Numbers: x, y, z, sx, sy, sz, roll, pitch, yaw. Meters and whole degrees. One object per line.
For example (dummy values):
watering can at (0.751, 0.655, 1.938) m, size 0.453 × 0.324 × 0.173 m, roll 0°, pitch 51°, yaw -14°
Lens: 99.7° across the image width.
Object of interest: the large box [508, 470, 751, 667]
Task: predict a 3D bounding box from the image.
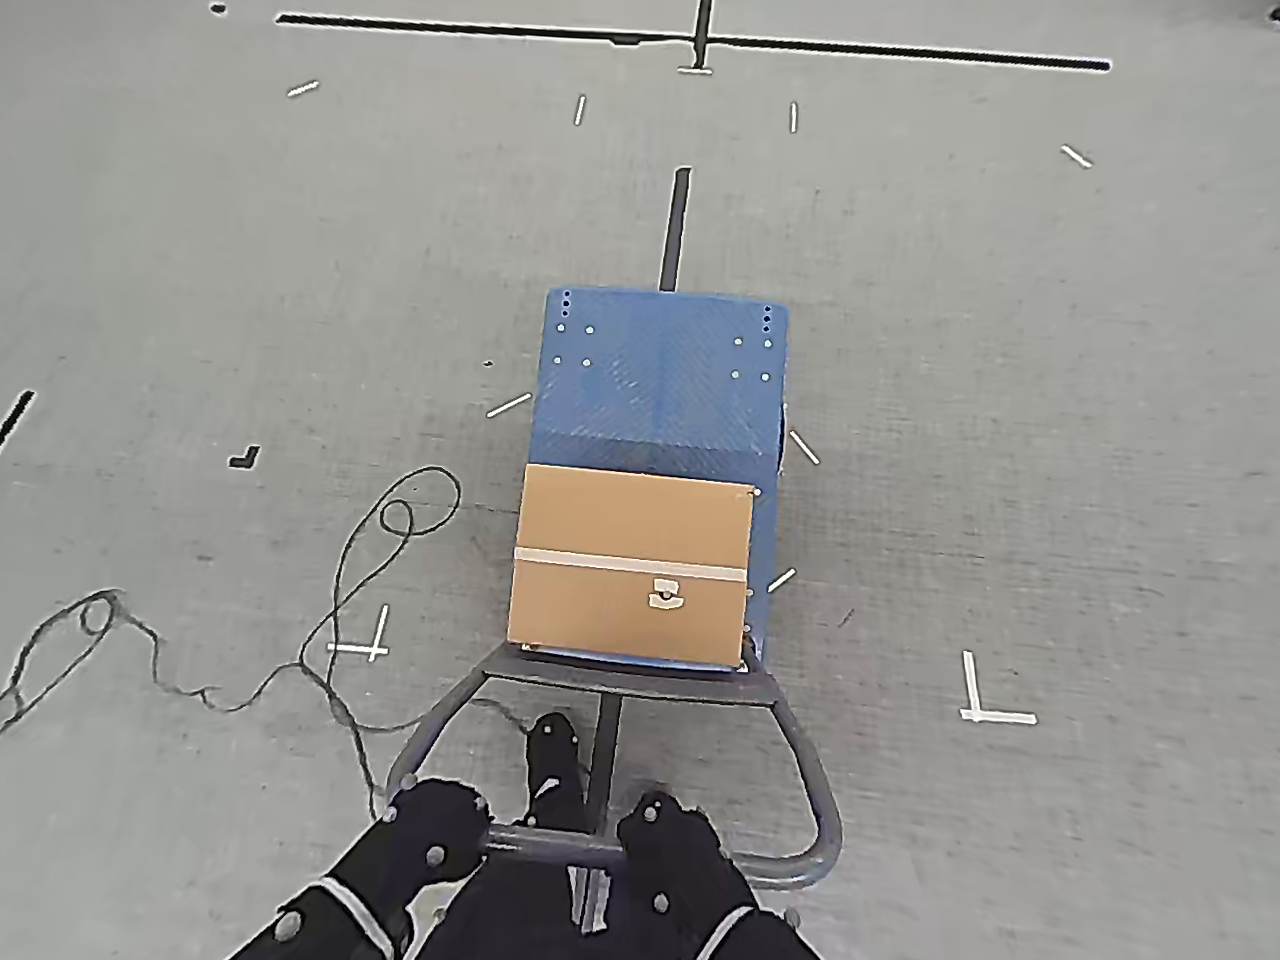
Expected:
large box at (-0.016, 0.163, 1.078) m, size 0.408 × 0.320 × 0.320 m, roll 6°, pitch 86°, yaw 1°
